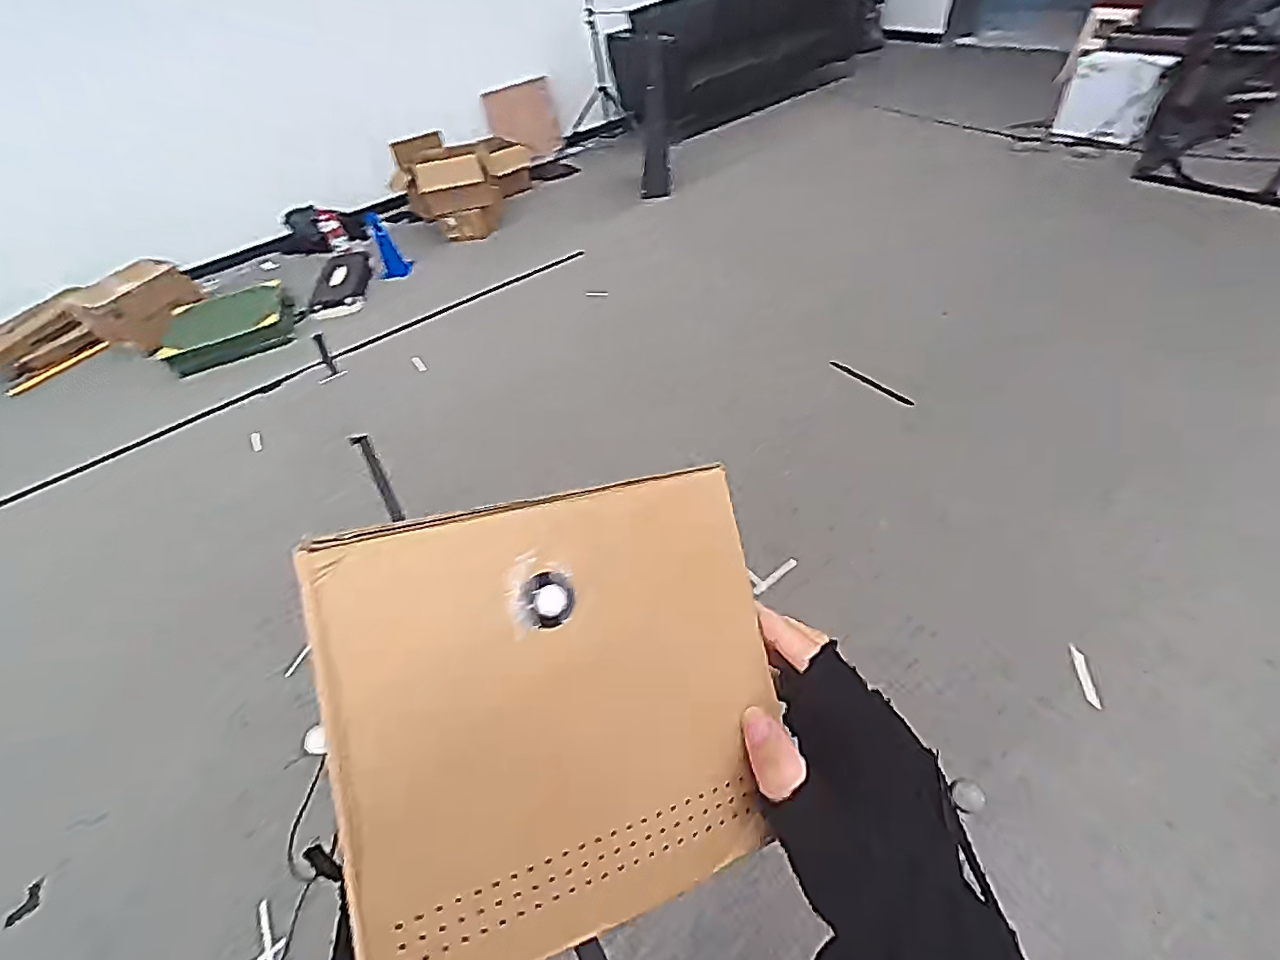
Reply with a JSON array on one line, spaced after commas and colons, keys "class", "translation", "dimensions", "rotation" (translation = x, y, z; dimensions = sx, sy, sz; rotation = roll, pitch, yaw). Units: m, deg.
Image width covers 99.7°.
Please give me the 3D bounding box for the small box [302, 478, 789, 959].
[{"class": "small box", "translation": [-0.050, 0.108, 0.286], "dimensions": [0.179, 0.168, 0.176], "rotation": [-10, 84, -23]}]
